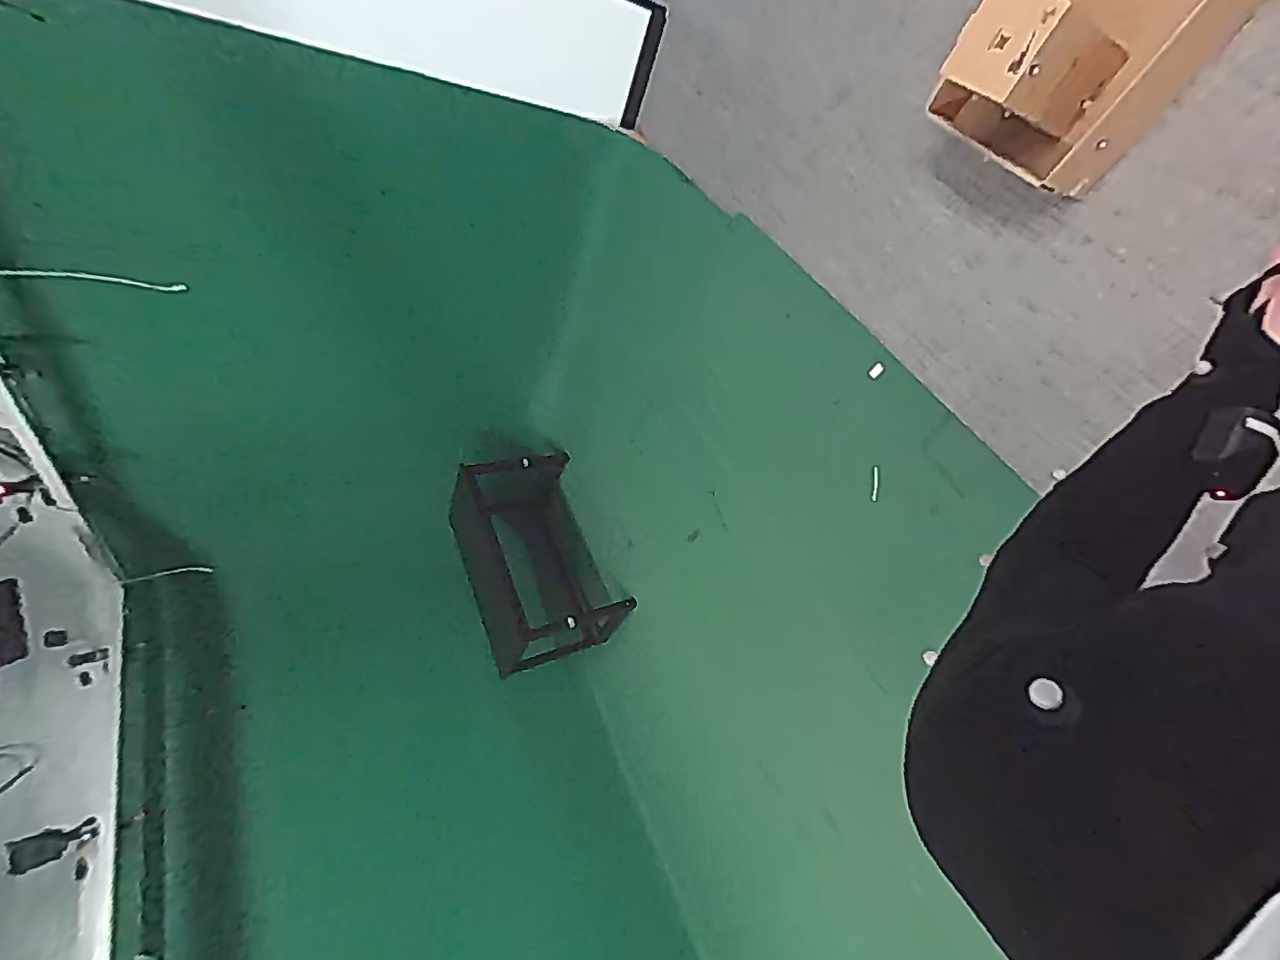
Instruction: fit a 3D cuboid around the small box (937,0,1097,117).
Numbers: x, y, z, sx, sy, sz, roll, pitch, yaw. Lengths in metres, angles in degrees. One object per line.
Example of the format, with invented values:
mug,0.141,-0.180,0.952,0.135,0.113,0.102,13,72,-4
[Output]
small box,0.769,-0.877,1.109,0.179,0.176,0.168,58,141,31
